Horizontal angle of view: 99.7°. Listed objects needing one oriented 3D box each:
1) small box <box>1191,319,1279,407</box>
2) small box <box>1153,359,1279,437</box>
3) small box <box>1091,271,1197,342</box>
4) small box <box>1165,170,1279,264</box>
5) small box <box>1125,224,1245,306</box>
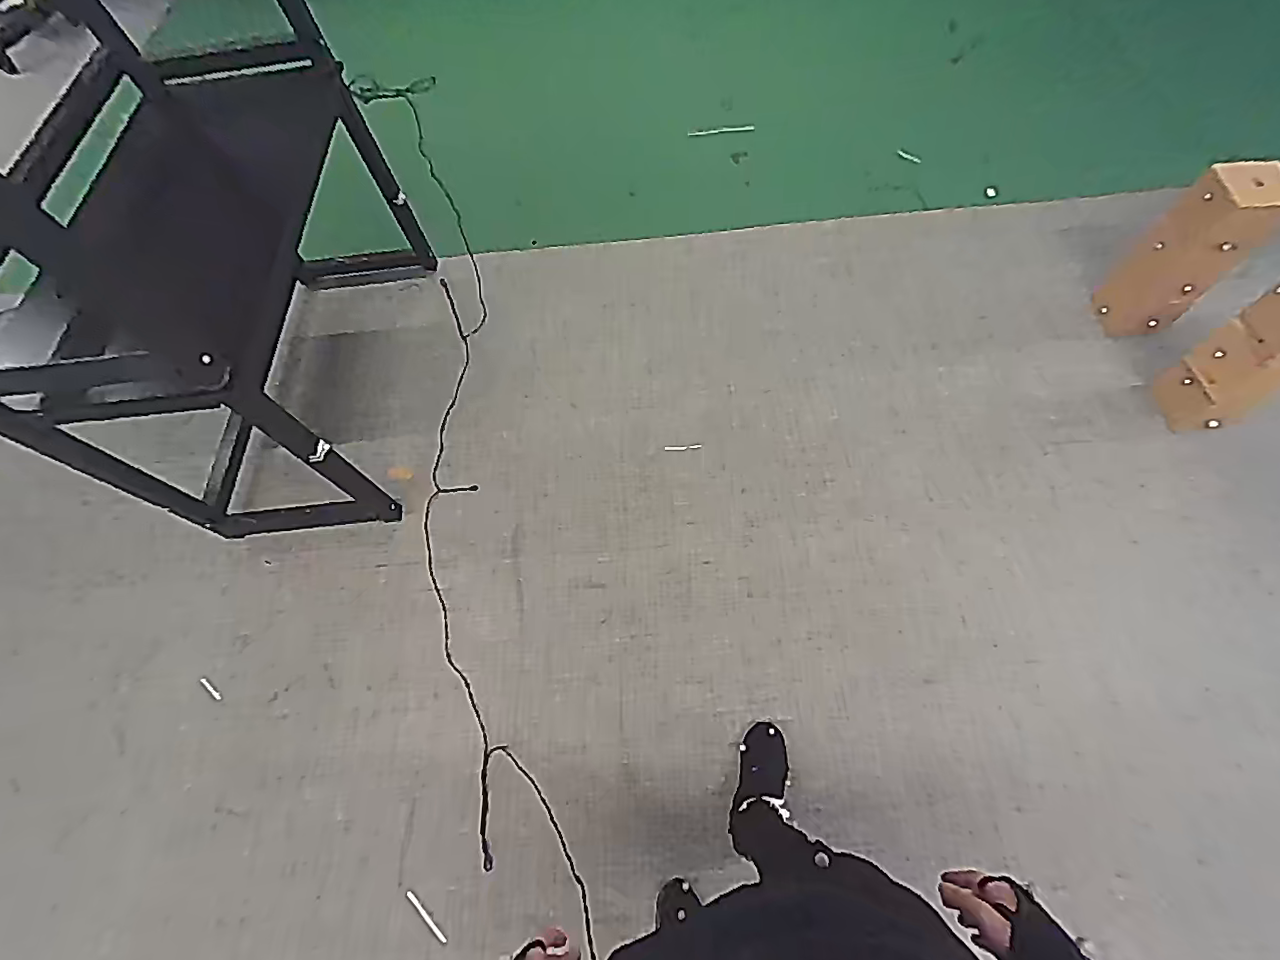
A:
[{"bbox_3d":[1.684,-0.316,1.479,0.179,0.176,0.168,-6,62,2],"label":"small box"},{"bbox_3d":[1.713,-0.248,1.624,0.168,0.176,0.179,-3,63,4],"label":"small box"},{"bbox_3d":[1.665,-0.575,1.798,0.168,0.176,0.179,-2,63,4],"label":"small box"},{"bbox_3d":[1.640,-0.733,1.512,0.168,0.176,0.179,1,63,7],"label":"small box"},{"bbox_3d":[1.652,-0.657,1.656,0.168,0.176,0.179,-1,63,5],"label":"small box"}]
